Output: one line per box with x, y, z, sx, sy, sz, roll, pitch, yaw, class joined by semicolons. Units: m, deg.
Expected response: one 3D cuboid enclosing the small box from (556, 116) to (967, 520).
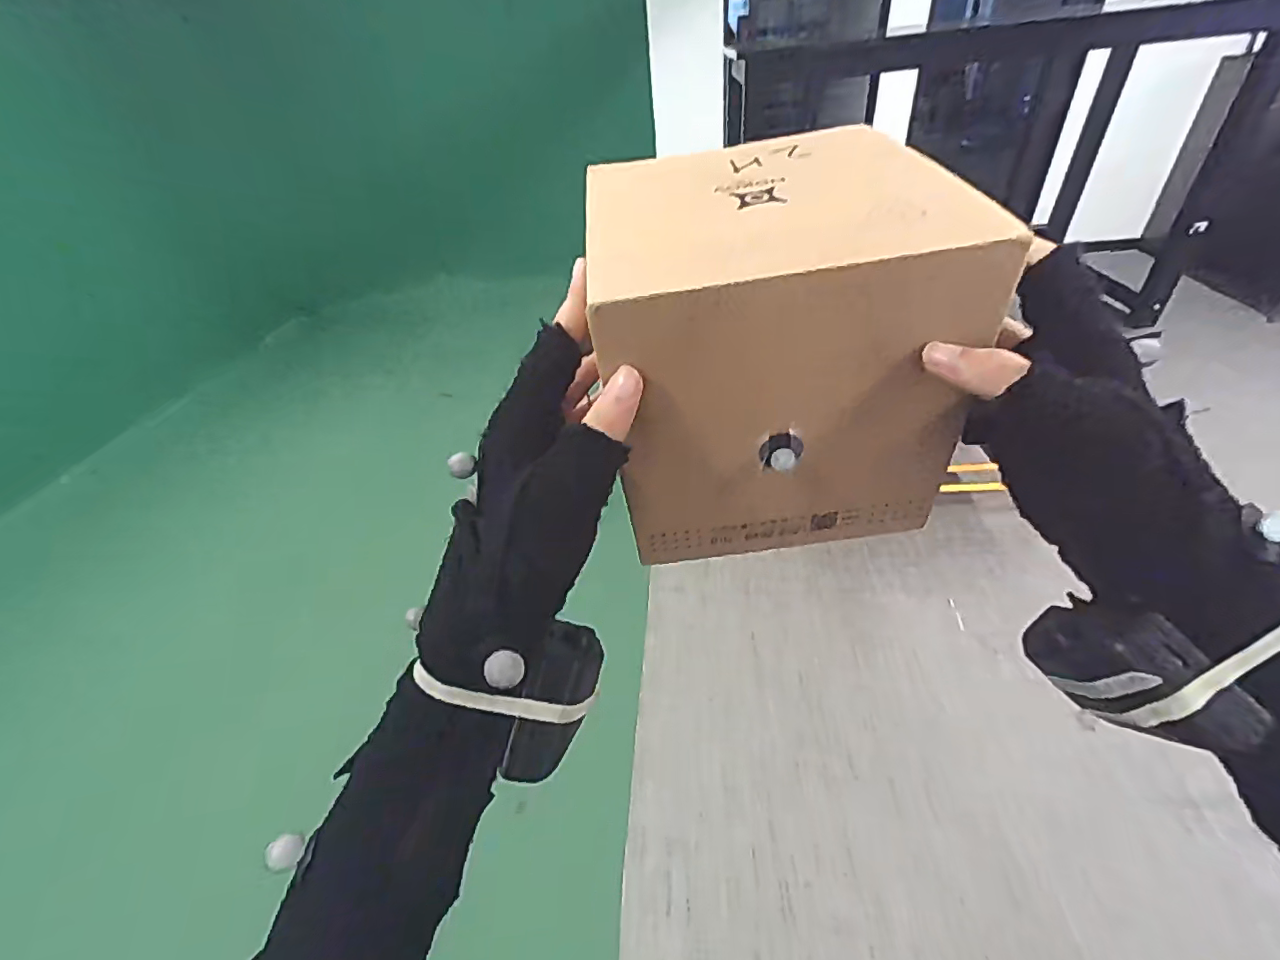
0.054;-0.090;0.325;0.168;0.176;0.179;-7;44;3;small box
